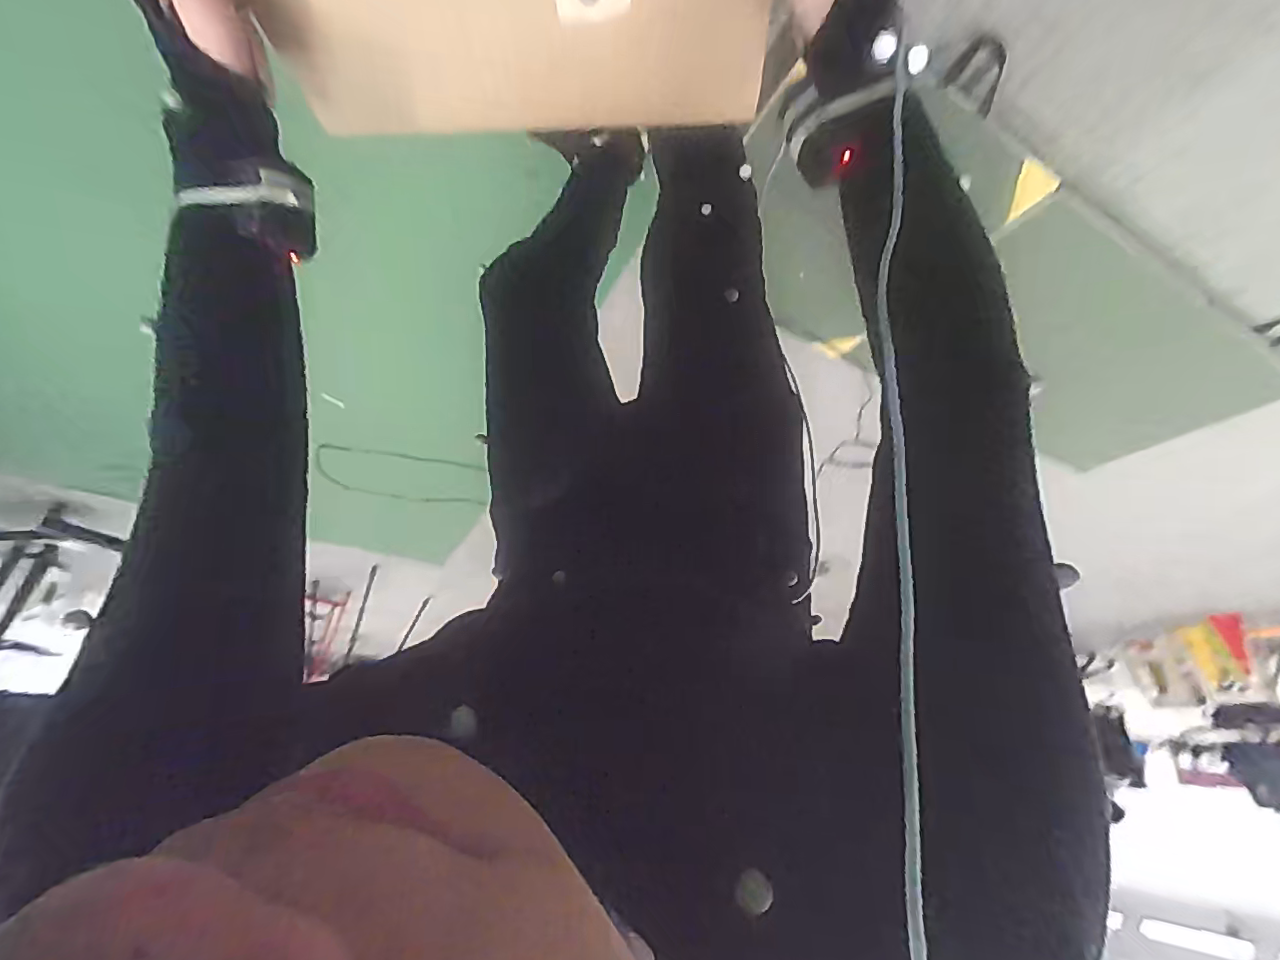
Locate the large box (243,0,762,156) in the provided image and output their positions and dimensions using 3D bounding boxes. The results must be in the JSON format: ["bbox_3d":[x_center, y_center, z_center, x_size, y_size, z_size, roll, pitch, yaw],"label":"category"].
[{"bbox_3d":[-0.108,-0.520,0.439,0.408,0.320,0.320,-1,156,4],"label":"large box"}]
